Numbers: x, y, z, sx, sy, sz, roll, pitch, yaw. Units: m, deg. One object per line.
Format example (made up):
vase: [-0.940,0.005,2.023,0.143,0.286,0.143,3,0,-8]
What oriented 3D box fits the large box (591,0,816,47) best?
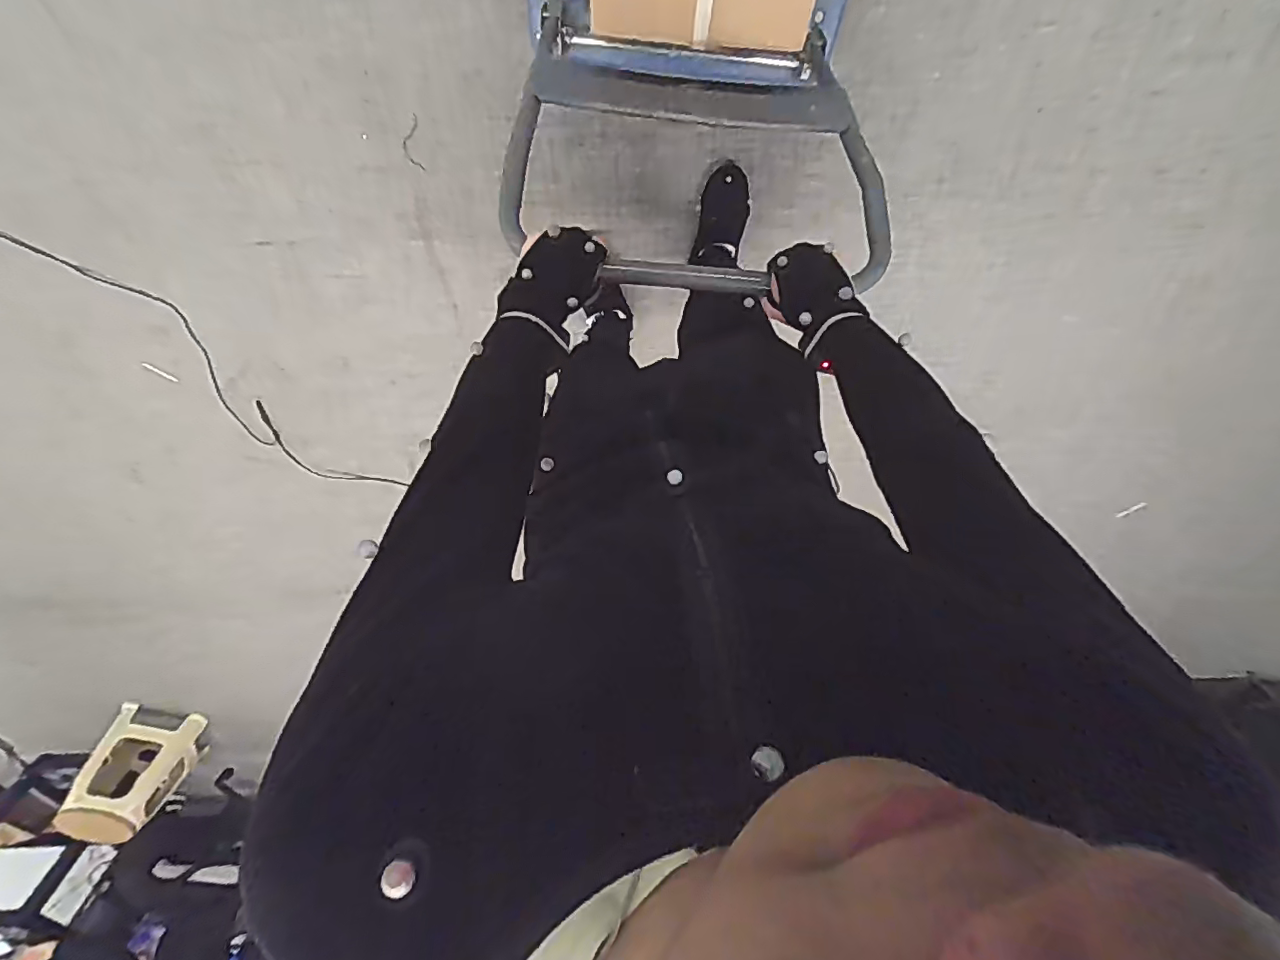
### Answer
large box: [0.101,-0.872,0.719,0.320,0.320,0.408,3,141,-2]
